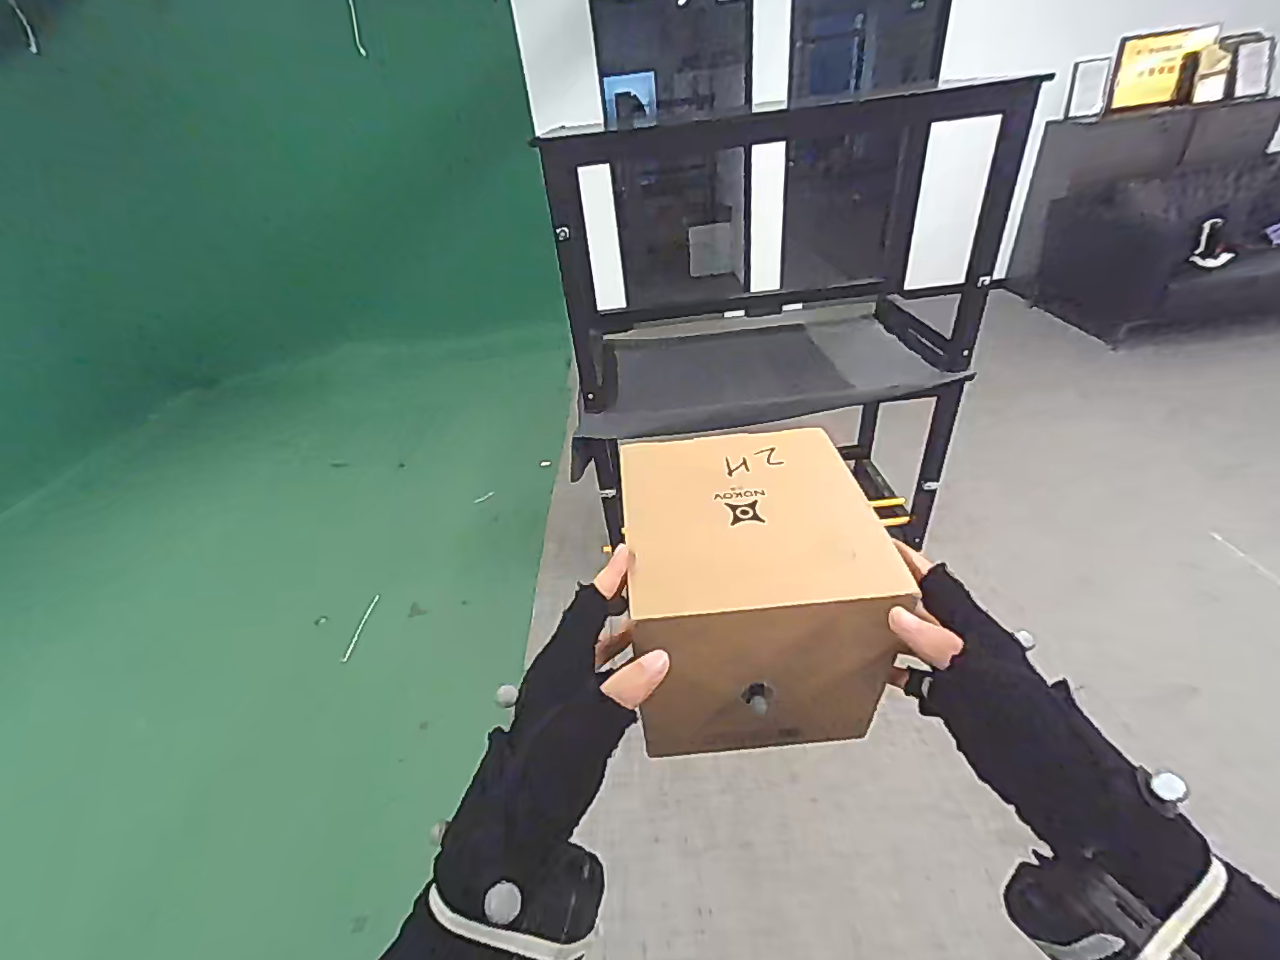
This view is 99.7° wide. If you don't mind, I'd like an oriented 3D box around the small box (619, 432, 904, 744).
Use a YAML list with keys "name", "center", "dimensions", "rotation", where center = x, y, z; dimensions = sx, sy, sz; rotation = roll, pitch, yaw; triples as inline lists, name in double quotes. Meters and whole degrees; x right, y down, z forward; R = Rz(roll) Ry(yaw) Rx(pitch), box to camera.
- name: "small box"
  center: [0.074, 0.085, 0.420]
  dimensions: [0.168, 0.176, 0.179]
  rotation: [-5, 37, 0]
